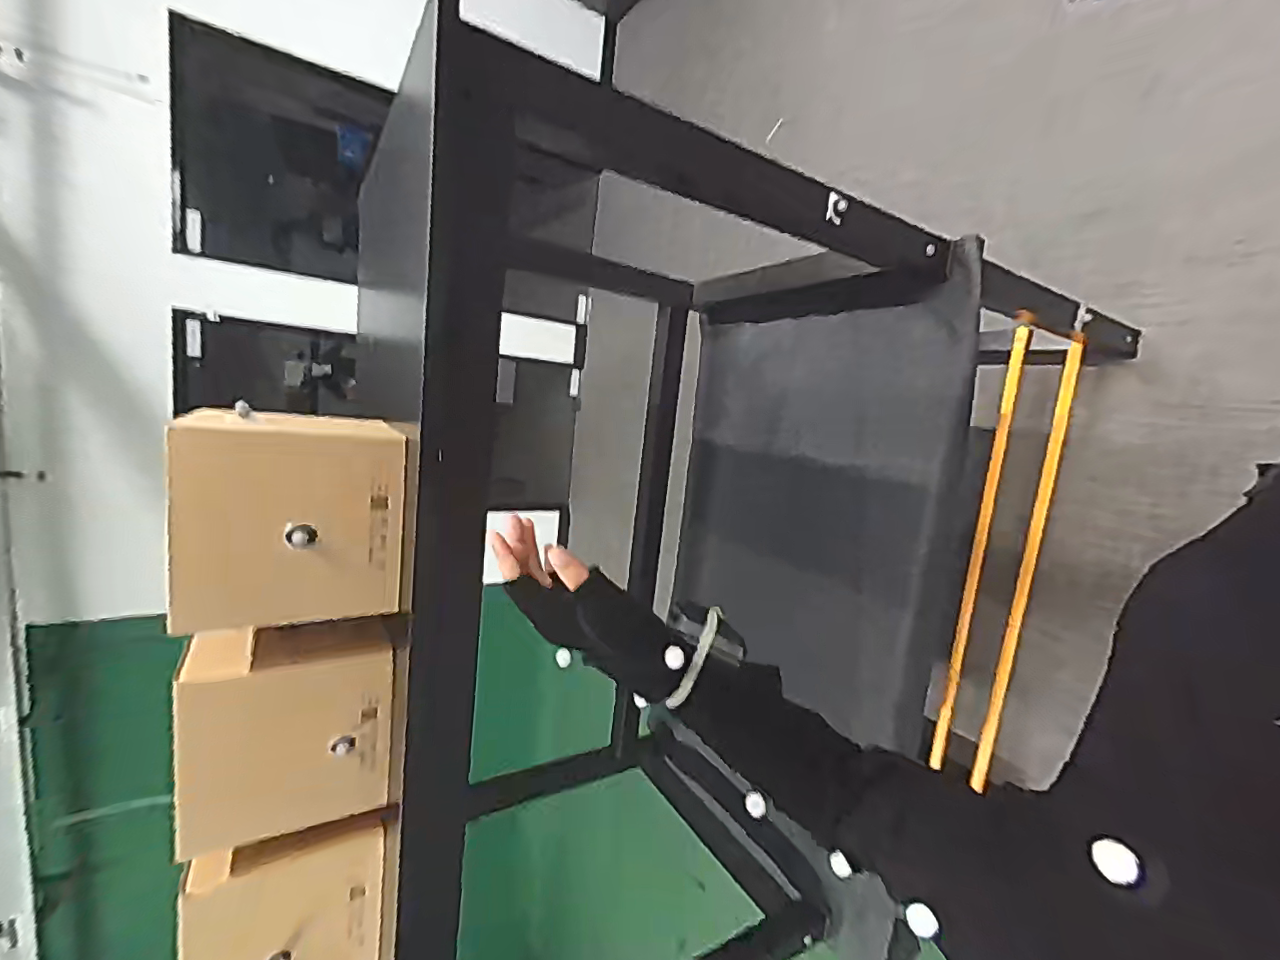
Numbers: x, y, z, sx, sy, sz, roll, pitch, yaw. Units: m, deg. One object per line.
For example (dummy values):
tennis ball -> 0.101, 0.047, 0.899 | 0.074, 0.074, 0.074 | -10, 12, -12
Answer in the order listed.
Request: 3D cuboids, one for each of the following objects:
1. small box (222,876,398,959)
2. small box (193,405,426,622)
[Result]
small box -> -0.387, 0.612, 0.633 | 0.179, 0.176, 0.168 | 17, 104, 56
small box -> -0.313, 0.020, 0.528 | 0.179, 0.176, 0.168 | 18, 104, 57
